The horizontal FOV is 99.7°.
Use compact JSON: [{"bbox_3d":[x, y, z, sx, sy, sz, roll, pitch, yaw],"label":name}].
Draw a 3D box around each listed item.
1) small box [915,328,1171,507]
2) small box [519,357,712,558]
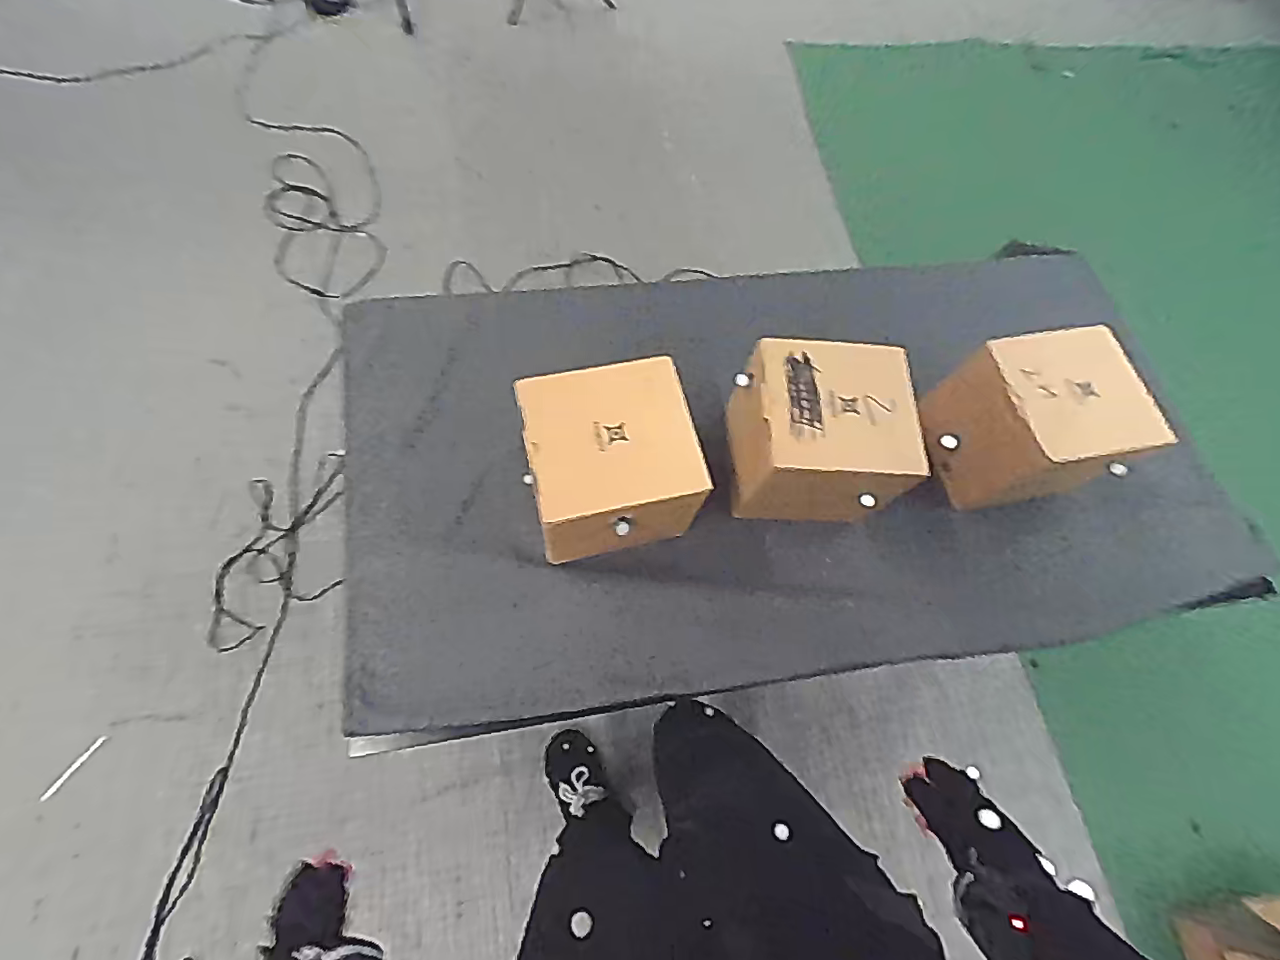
[{"bbox_3d":[0.509,-0.075,0.712,0.179,0.176,0.168,-9,69,-9],"label":"small box"},{"bbox_3d":[-0.036,-0.019,0.637,0.179,0.176,0.168,-12,70,-10],"label":"small box"}]
